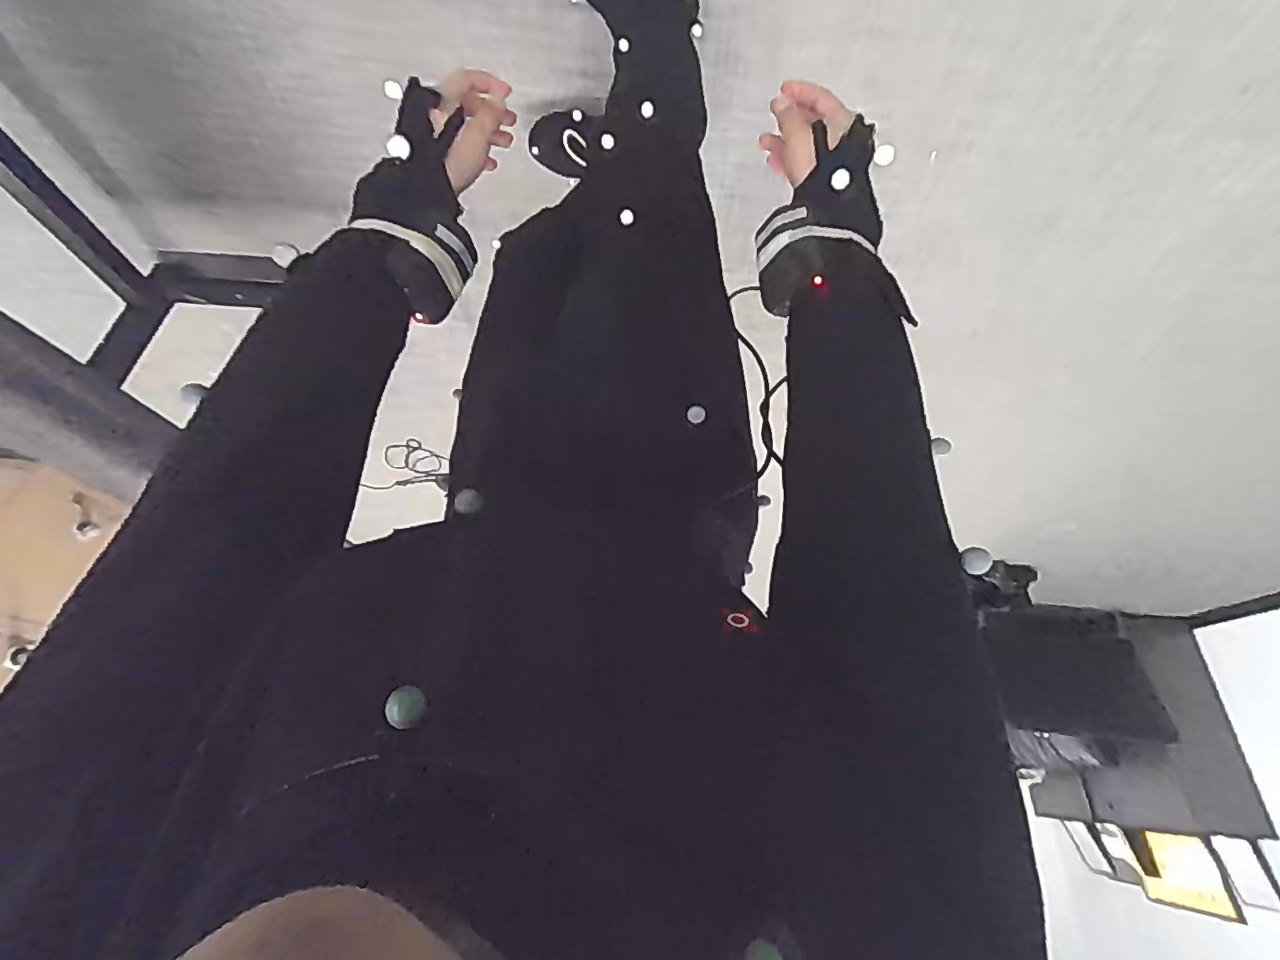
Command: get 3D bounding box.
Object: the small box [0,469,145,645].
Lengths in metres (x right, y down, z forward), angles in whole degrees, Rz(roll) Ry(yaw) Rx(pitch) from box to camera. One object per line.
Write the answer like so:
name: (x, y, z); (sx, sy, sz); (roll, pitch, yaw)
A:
small box: (-0.774, 0.092, 0.653); (0.179, 0.176, 0.168); (3, 152, 2)
